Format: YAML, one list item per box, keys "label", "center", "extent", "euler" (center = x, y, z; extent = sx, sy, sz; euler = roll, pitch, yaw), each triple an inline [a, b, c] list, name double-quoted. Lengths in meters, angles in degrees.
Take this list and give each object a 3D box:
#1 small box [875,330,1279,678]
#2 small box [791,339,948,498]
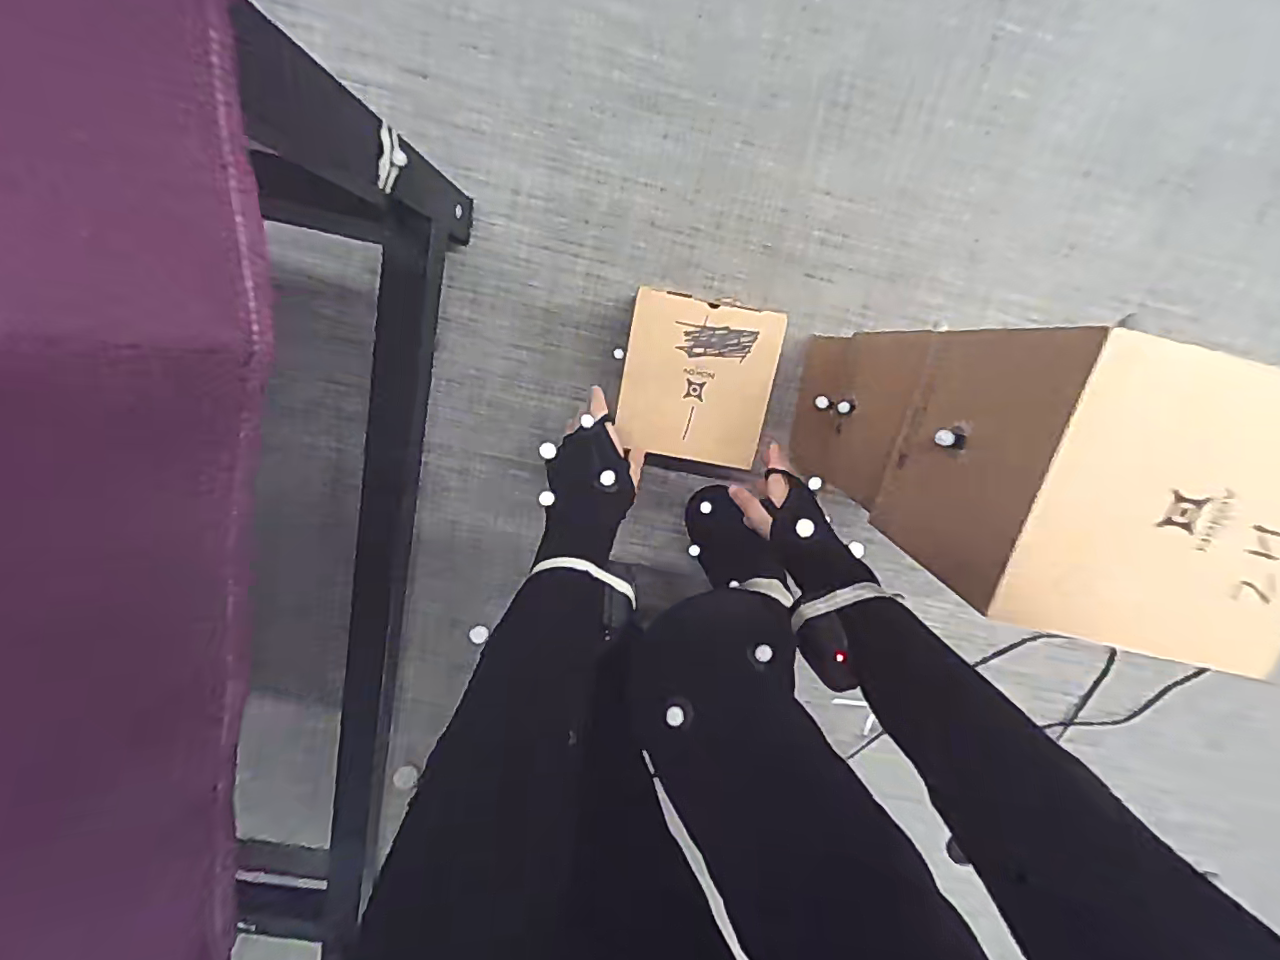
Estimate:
- label: "small box"
  center: [0.295, 0.002, 0.373]
  extent: [0.179, 0.176, 0.168]
  euler: [13, 105, -4]
- label: "small box"
  center: [0.304, -0.080, 0.692]
  extent: [0.168, 0.176, 0.179]
  euler: [7, 104, -3]
